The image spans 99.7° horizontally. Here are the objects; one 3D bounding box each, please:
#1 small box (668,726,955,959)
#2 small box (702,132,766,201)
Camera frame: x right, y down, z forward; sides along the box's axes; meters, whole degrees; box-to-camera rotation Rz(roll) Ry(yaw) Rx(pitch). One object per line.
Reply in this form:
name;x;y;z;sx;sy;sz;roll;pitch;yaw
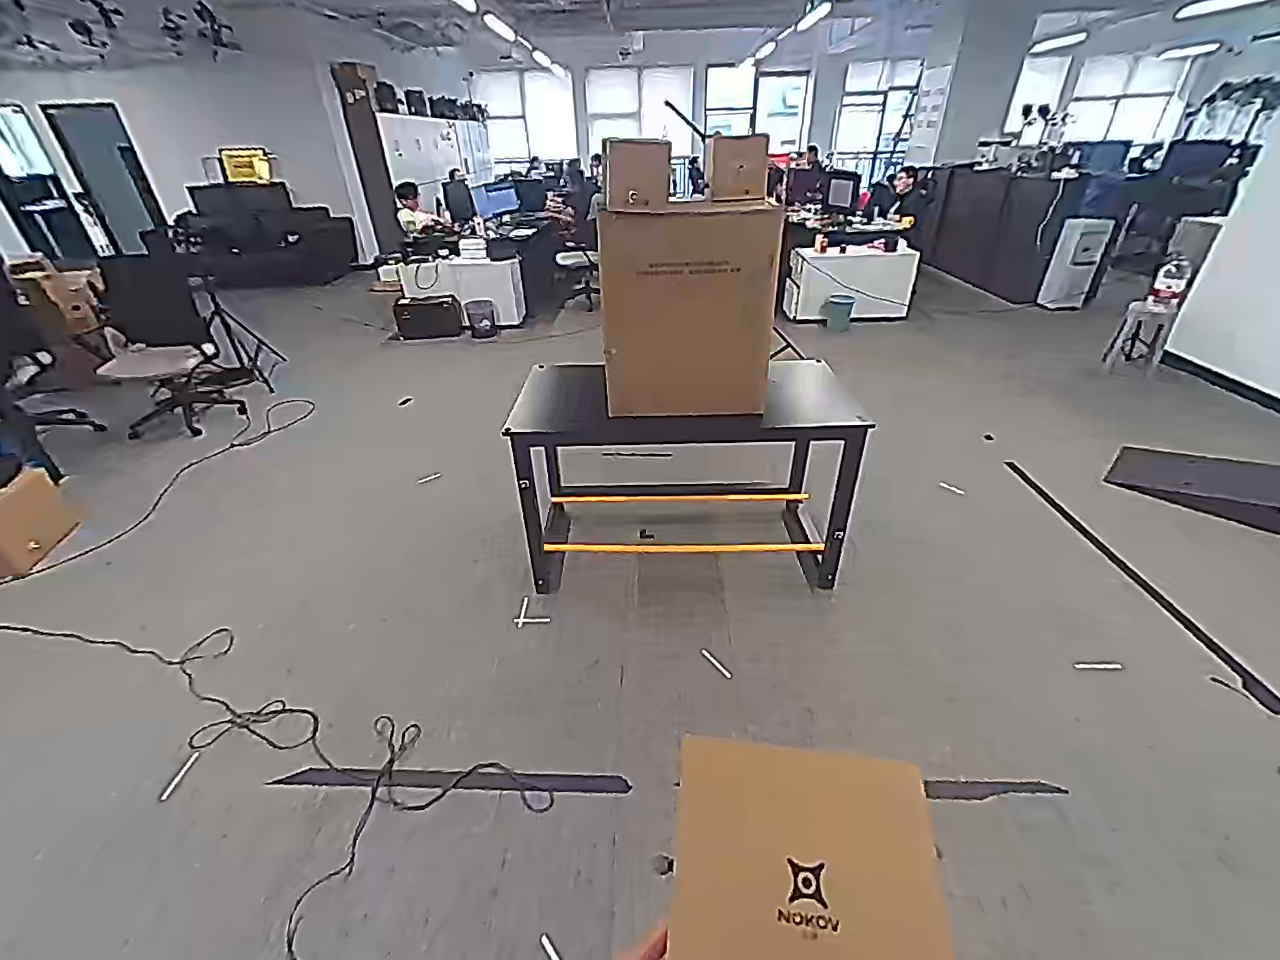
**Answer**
small box;0.108;0.306;0.395;0.168;0.176;0.179;3;49;8
small box;0.283;-0.956;1.653;0.168;0.176;0.179;-4;32;0
